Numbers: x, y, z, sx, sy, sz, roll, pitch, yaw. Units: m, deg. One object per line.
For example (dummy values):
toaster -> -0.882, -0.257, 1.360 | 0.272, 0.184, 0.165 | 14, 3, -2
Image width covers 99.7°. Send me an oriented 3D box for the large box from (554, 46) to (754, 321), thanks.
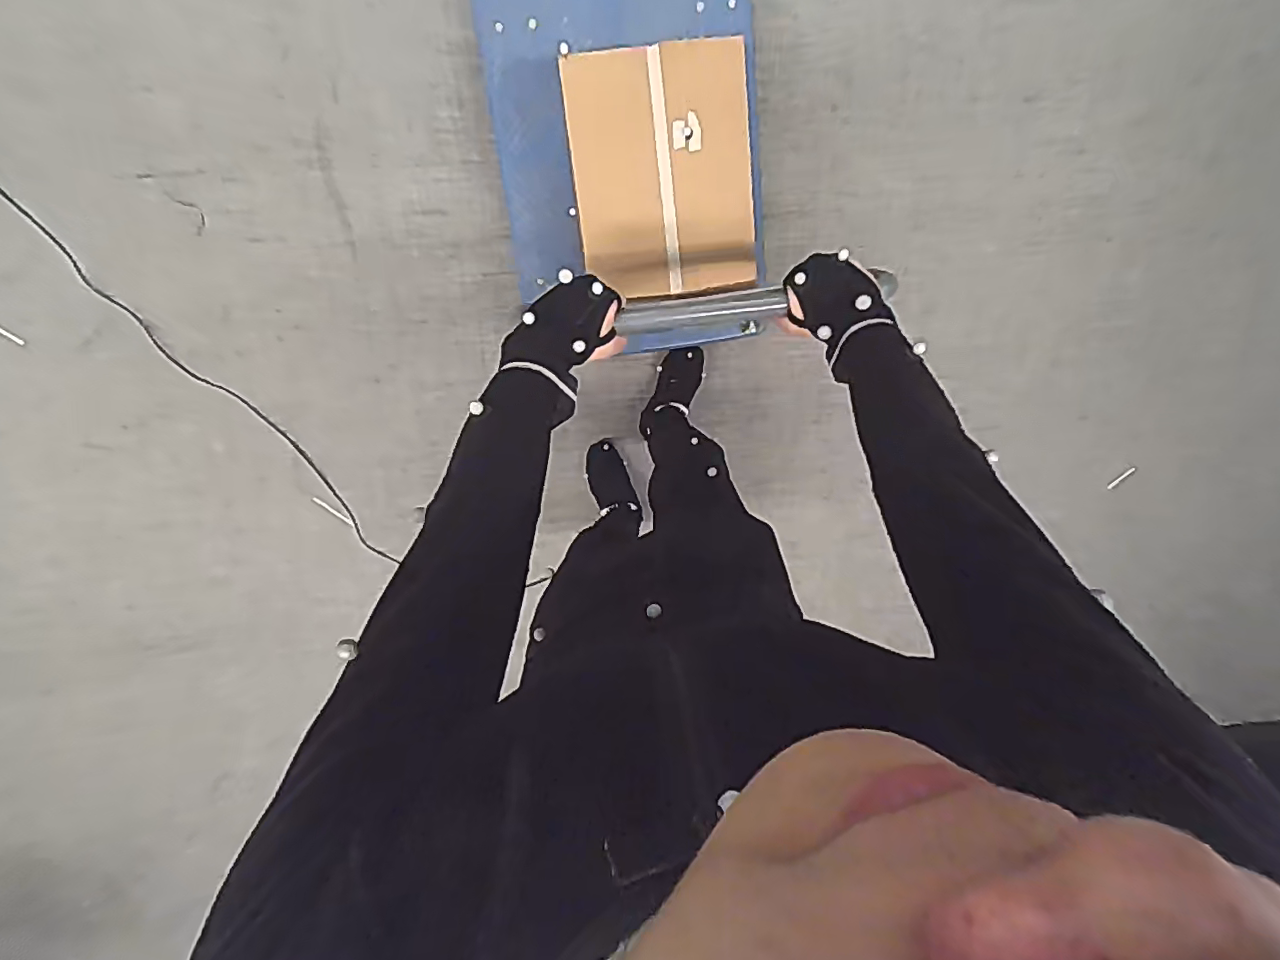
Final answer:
large box -> 0.024, -0.556, 1.101 | 0.320, 0.320, 0.408 | -9, 104, -3
